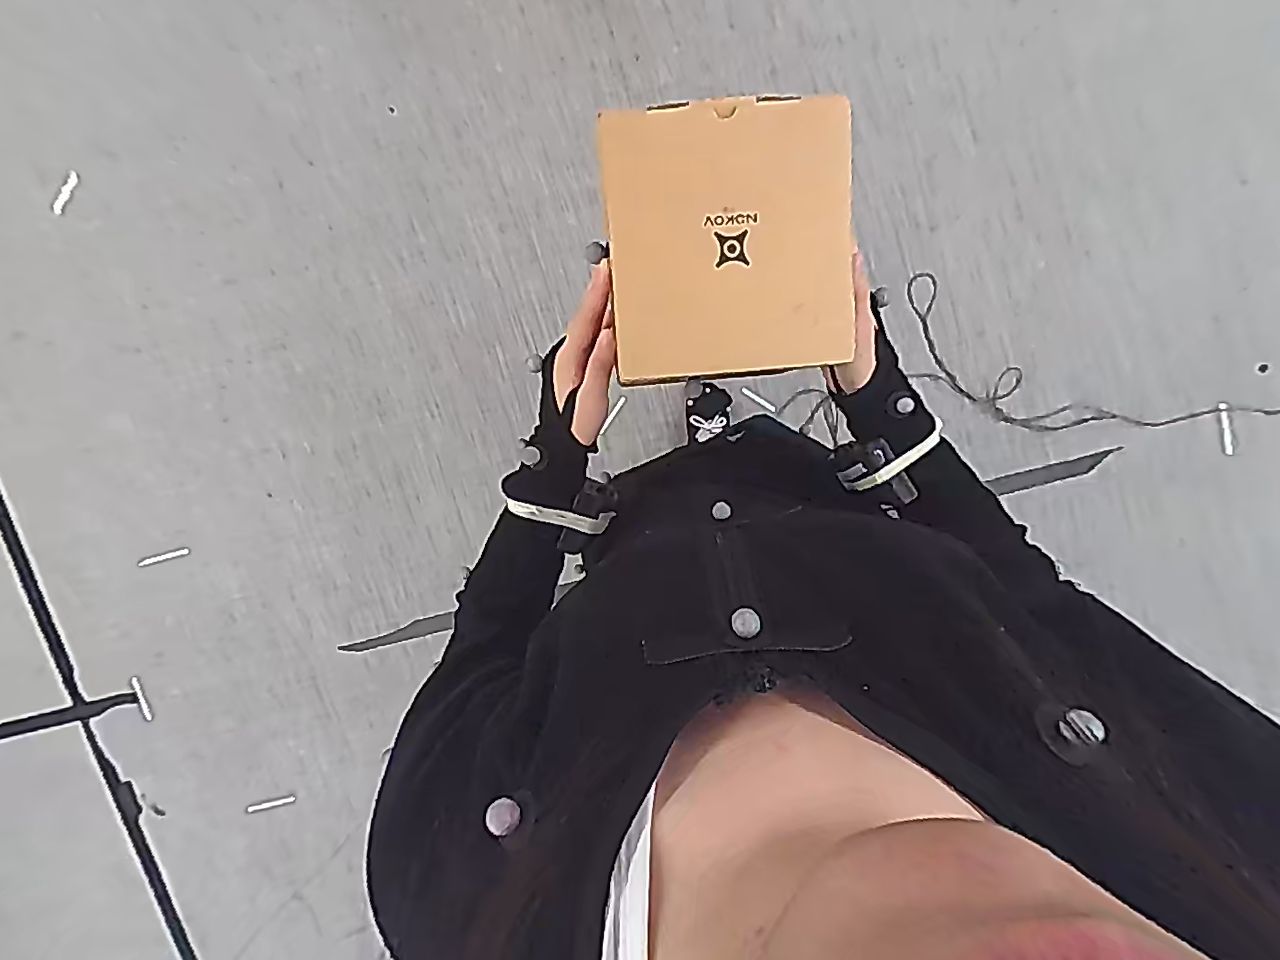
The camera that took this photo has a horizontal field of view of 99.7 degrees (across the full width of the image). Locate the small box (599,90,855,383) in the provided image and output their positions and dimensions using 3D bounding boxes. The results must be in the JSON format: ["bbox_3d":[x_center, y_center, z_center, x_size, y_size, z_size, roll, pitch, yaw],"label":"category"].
[{"bbox_3d":[0.060,-0.172,0.441,0.168,0.176,0.179,-5,97,-1],"label":"small box"}]
